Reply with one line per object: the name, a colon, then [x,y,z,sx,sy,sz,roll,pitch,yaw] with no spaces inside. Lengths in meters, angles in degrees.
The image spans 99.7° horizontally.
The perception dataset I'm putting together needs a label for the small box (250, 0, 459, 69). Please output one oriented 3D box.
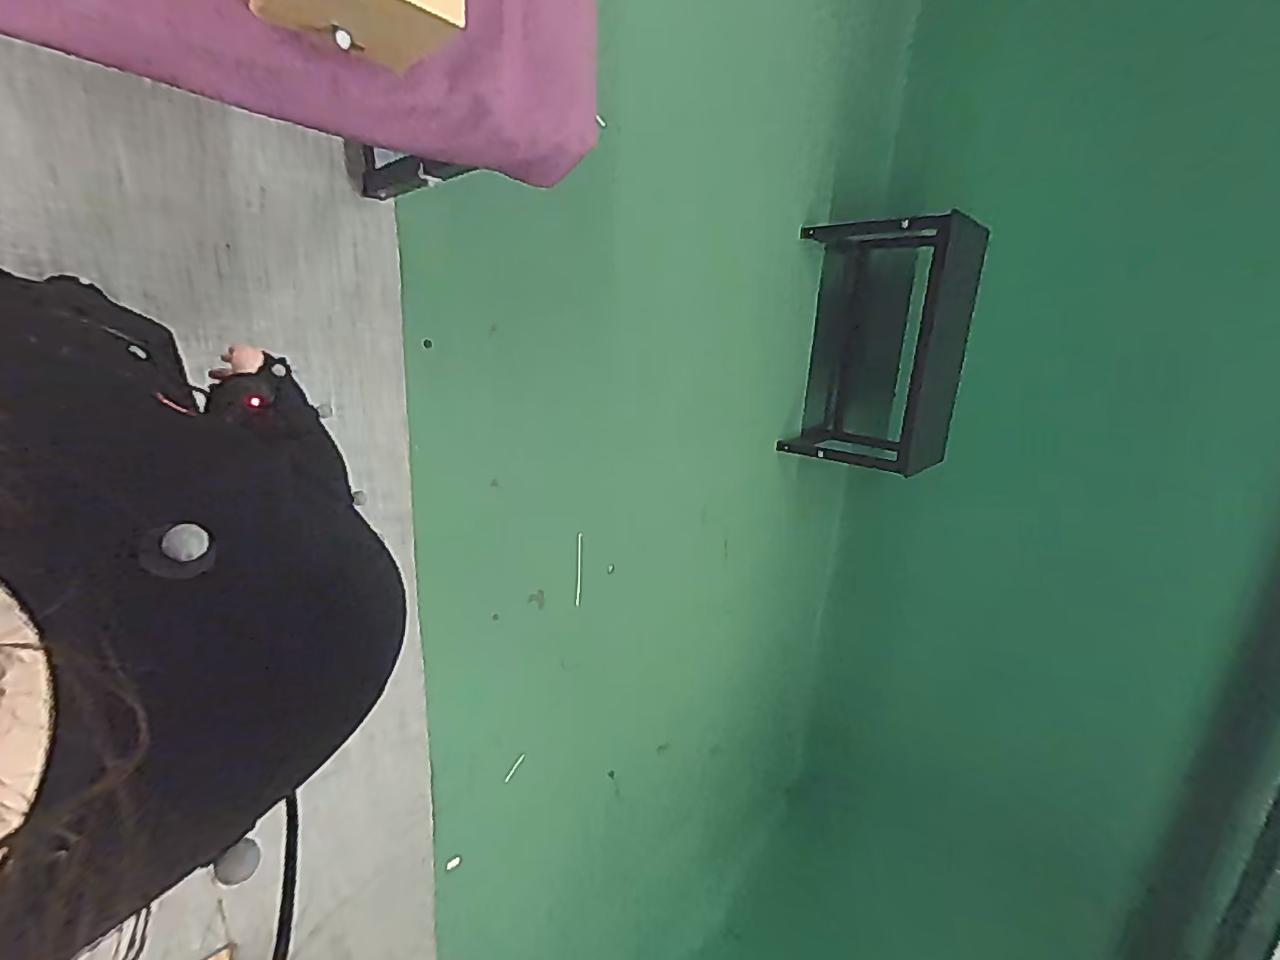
small box: [-0.311,-0.585,0.572,0.168,0.176,0.179,-13,111,-46]
